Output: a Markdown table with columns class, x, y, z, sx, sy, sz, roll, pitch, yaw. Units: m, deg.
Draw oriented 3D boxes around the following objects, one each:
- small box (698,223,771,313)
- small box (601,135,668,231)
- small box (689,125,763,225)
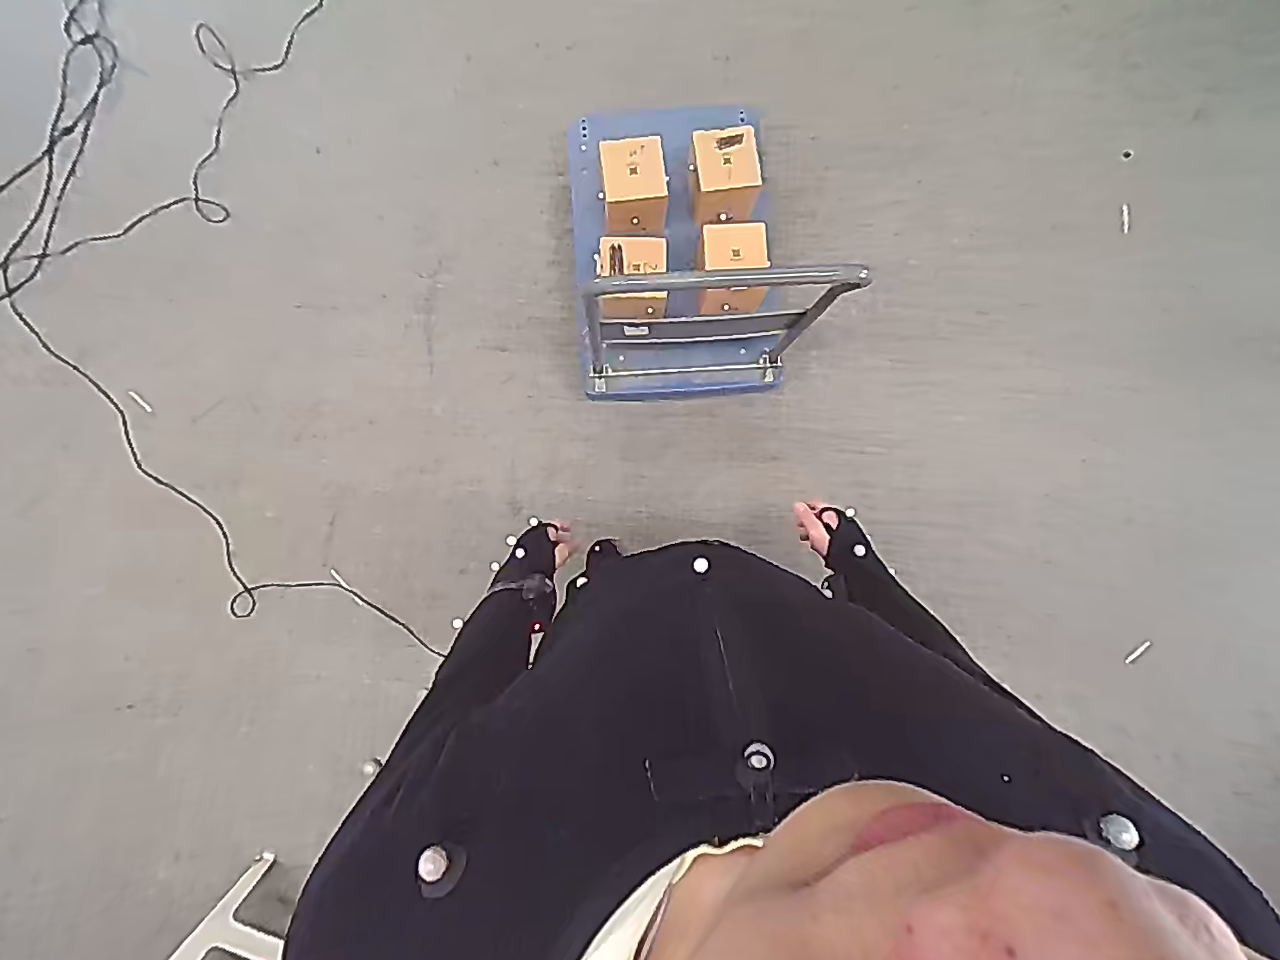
| class | x | y | z | sx | sy | sz | roll | pitch | yaw |
| --- | --- | --- | --- | --- | --- | --- | --- | --- | --- |
| small box | 0.253 | -0.578 | 1.484 | 0.168 | 0.176 | 0.179 | -3 | 84 | -1 |
| small box | -0.015 | -0.813 | 1.503 | 0.168 | 0.176 | 0.179 | -7 | 84 | -3 |
| small box | 0.235 | -0.847 | 1.510 | 0.168 | 0.176 | 0.179 | -7 | 85 | -1 |
